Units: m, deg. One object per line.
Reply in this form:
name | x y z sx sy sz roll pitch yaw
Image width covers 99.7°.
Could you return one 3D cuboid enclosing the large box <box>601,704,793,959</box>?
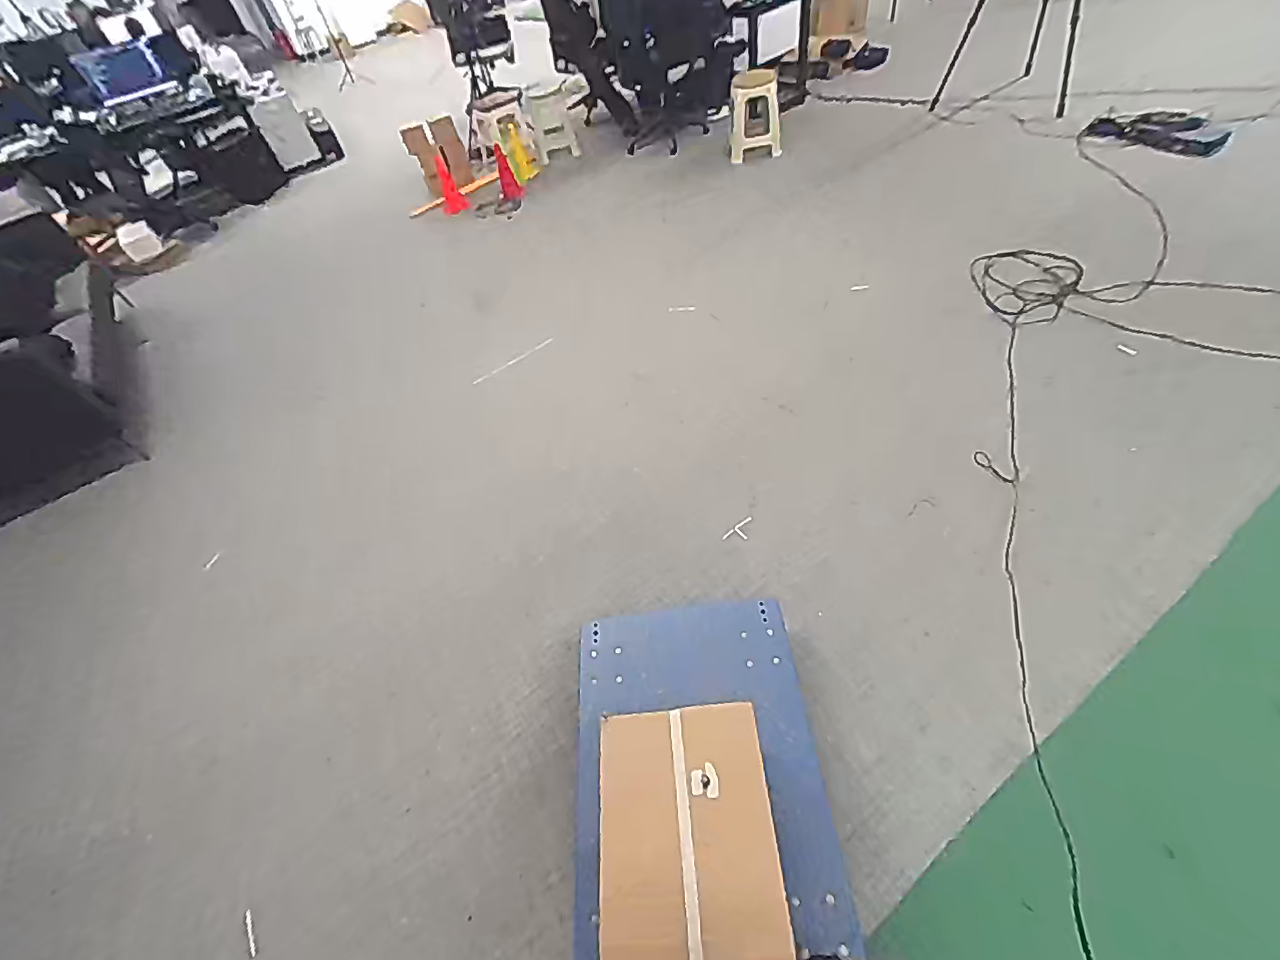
large box | 0.108 0.726 1.098 0.320 0.320 0.408 -8 48 6
